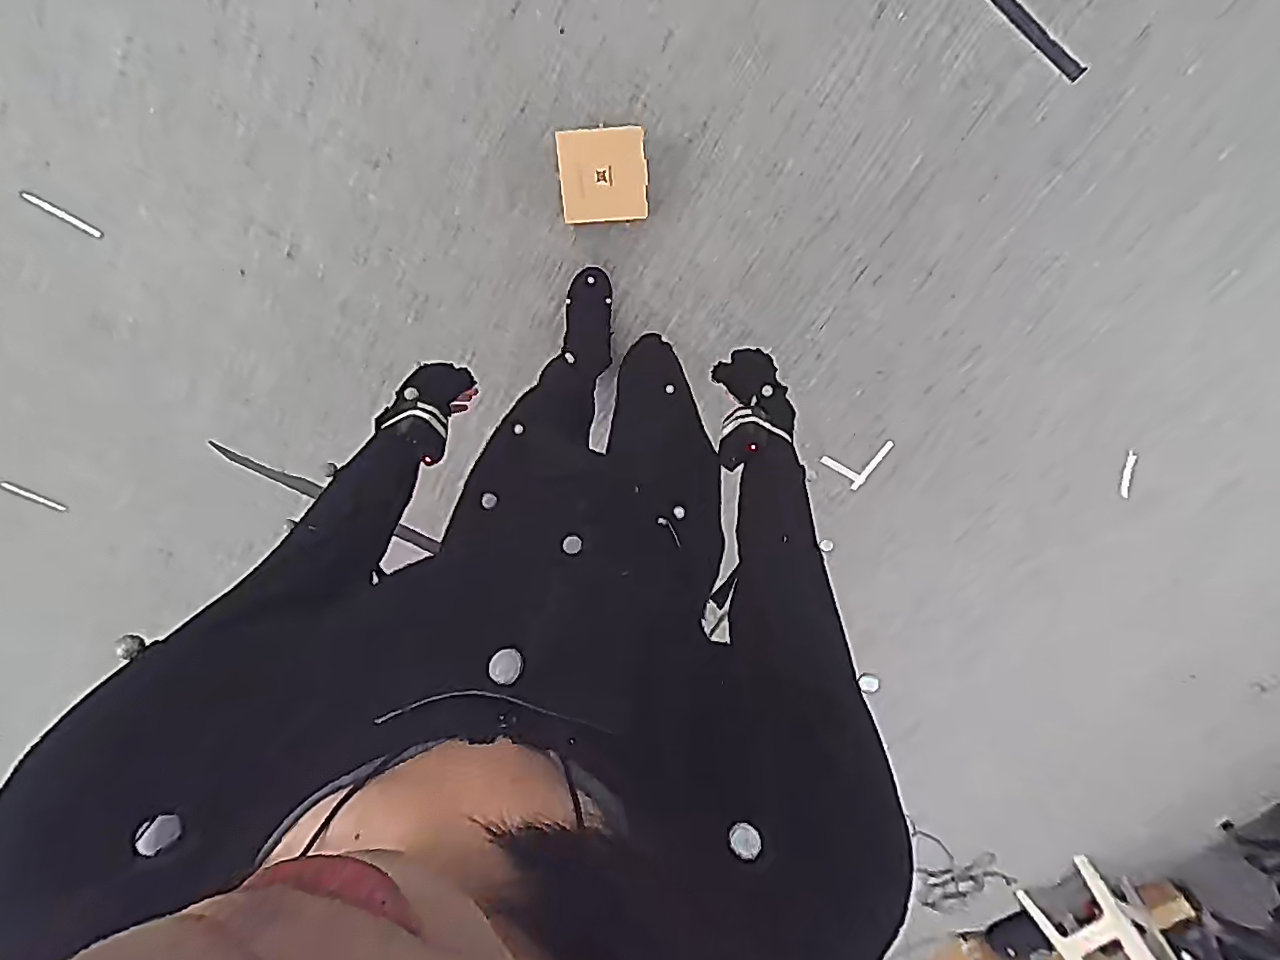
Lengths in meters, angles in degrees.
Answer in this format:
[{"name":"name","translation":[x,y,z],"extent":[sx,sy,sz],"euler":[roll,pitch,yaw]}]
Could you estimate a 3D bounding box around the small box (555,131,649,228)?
[{"name":"small box","translation":[-0.077,-0.633,1.152],"extent":[0.179,0.176,0.168],"euler":[-4,115,0]}]
